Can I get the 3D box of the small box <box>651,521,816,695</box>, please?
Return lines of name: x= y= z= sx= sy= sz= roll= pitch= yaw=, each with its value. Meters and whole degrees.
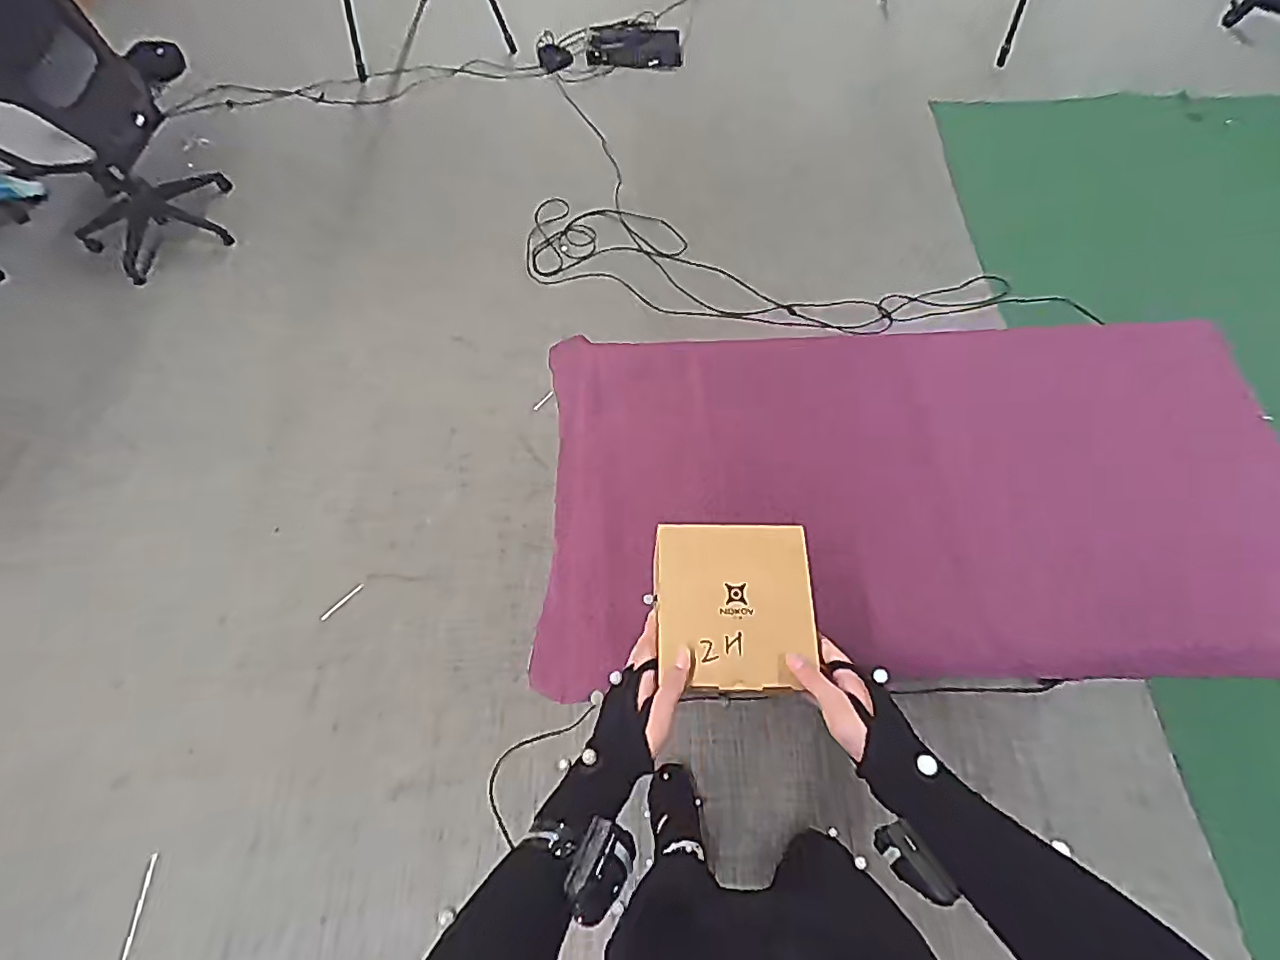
small box: x=0.098 y=0.160 z=0.650 sx=0.168 sy=0.176 sz=0.179 roll=1 pitch=67 yaw=1
